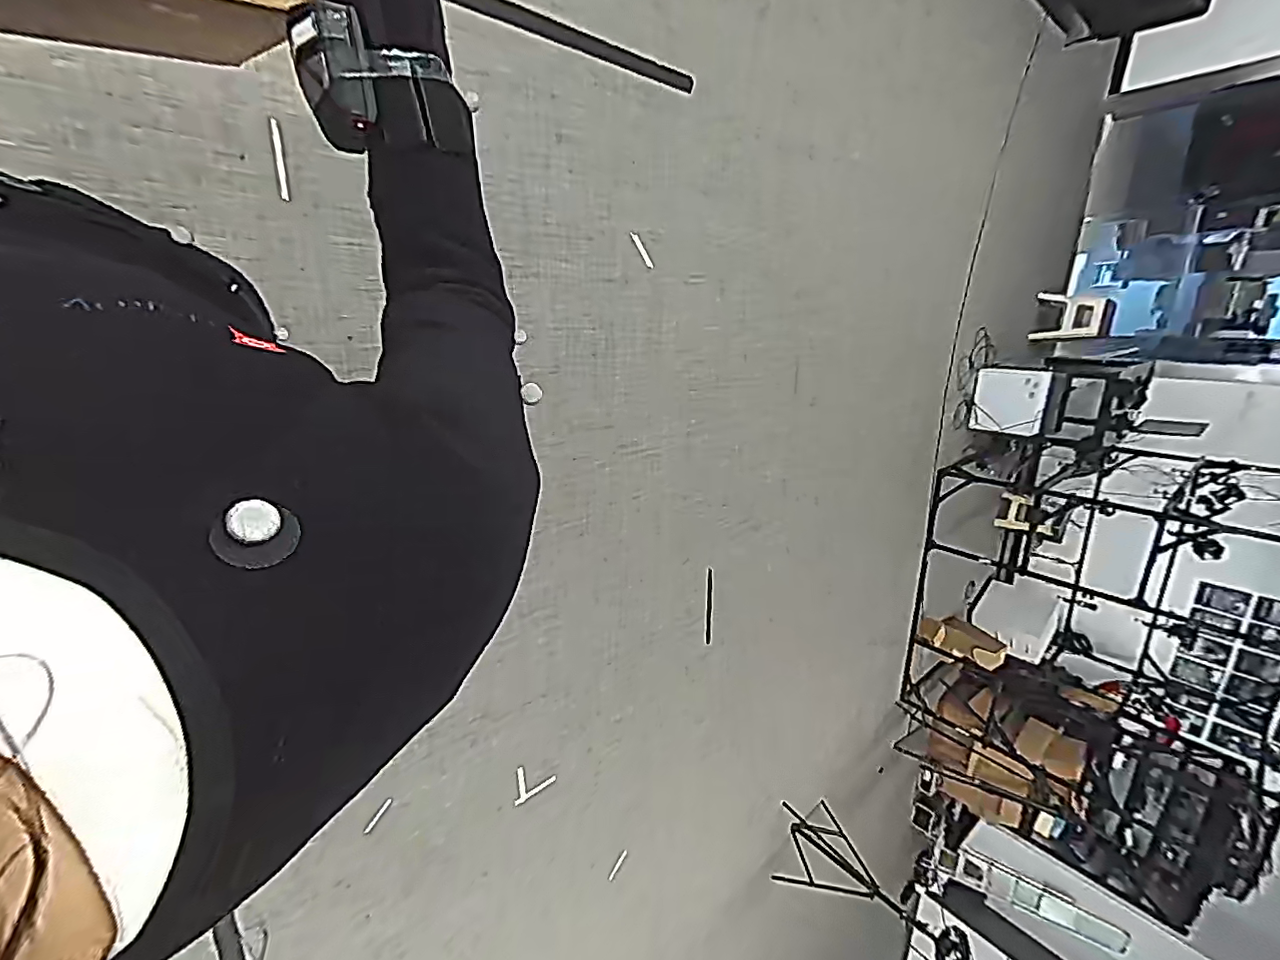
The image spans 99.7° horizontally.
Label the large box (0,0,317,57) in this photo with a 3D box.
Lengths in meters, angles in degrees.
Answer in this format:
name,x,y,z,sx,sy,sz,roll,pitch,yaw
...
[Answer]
name,x,y,z,sx,sy,sz,roll,pitch,yaw
large box,-0.440,-0.424,0.241,0.408,0.320,0.320,-21,129,-37
